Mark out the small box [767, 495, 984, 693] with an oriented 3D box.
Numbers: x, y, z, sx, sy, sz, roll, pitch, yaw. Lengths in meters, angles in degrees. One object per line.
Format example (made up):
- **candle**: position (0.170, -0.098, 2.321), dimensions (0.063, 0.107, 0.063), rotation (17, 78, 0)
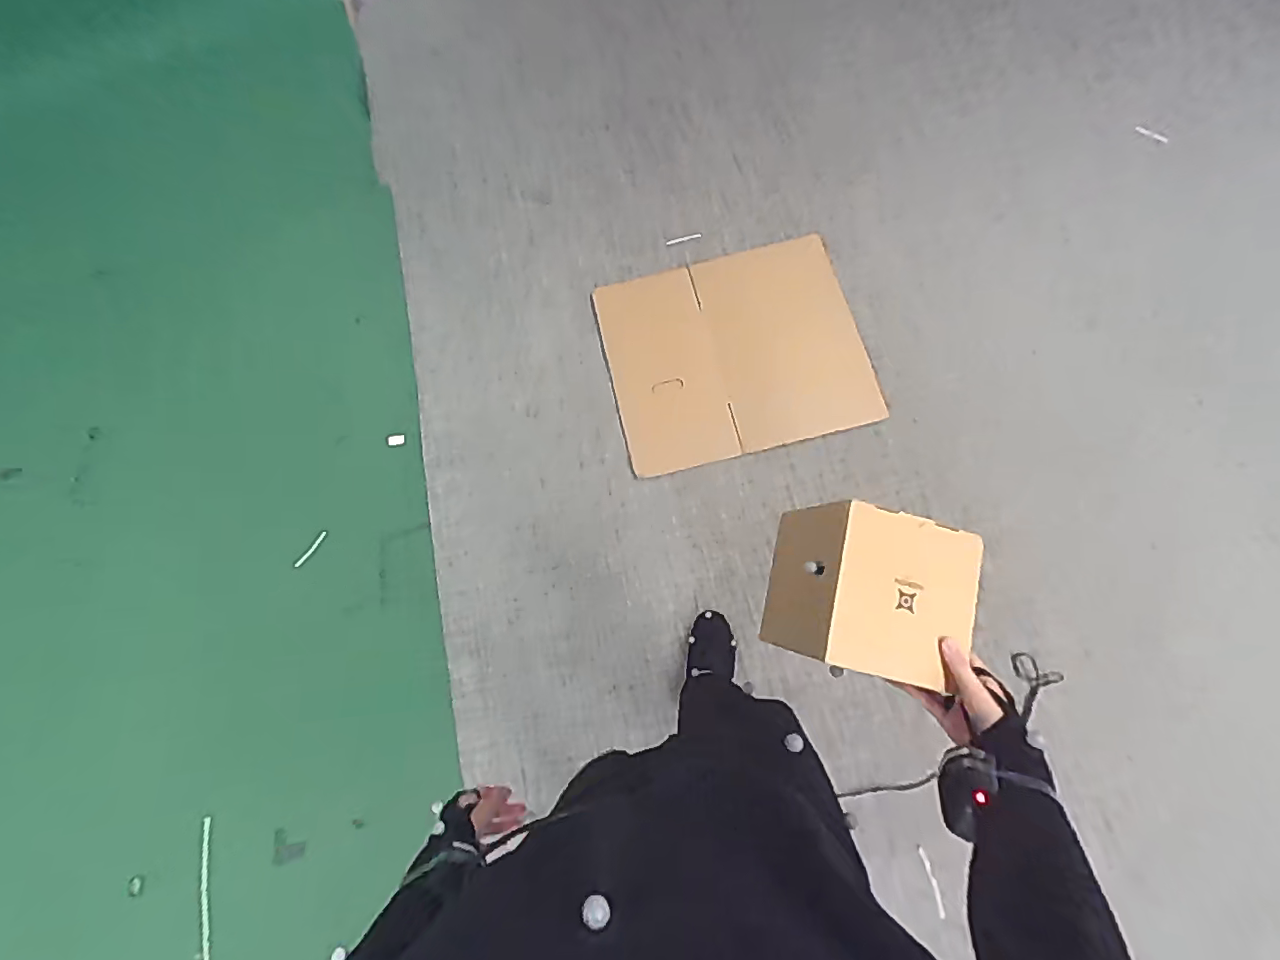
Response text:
- **small box**: position (0.268, 0.133, 0.647), dimensions (0.168, 0.176, 0.179), rotation (16, 77, -8)
